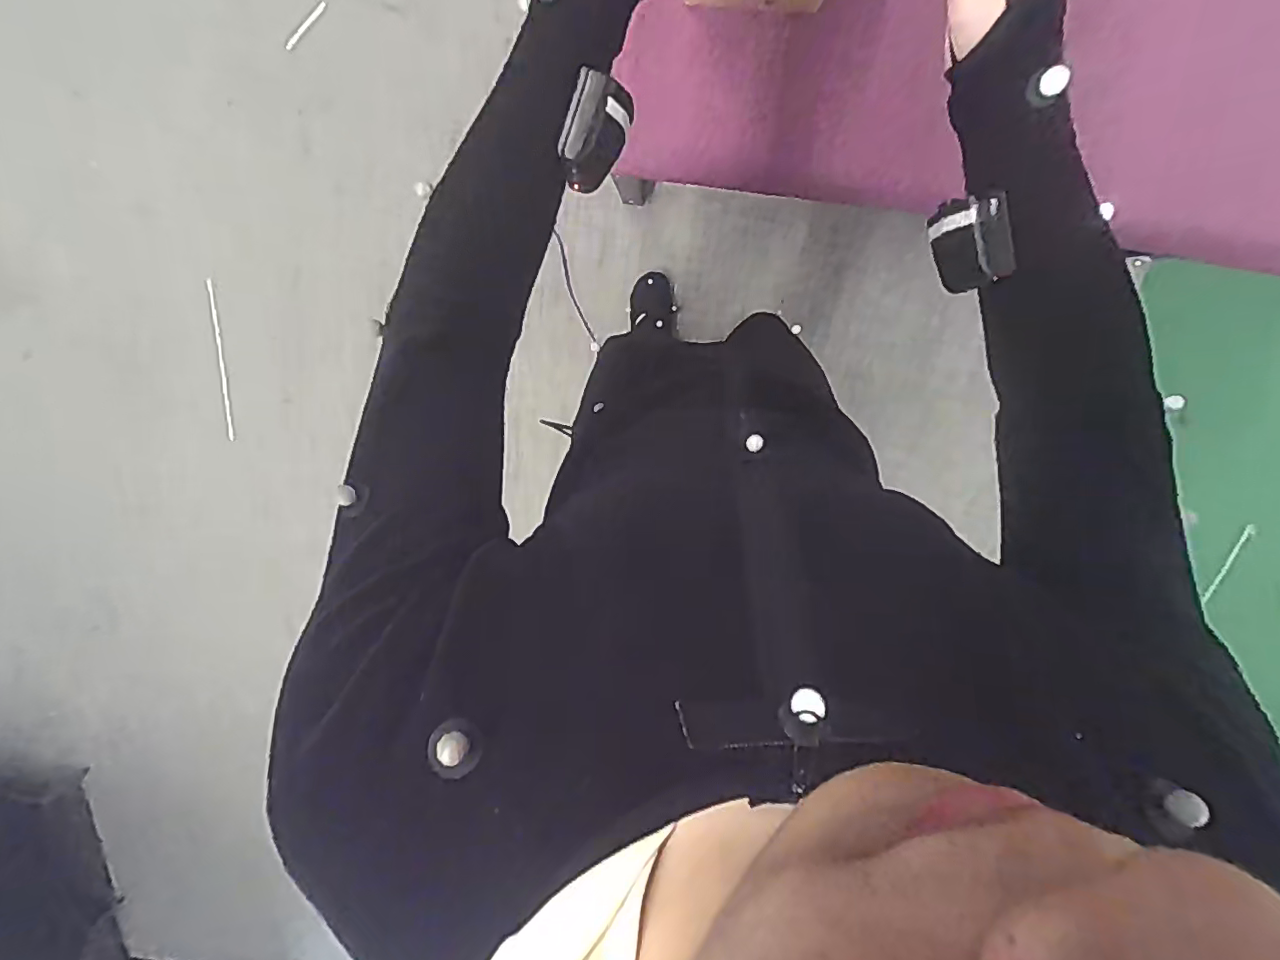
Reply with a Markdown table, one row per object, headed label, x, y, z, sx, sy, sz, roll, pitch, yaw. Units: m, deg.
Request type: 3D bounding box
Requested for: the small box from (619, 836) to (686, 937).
| label | x | y | z | sx | sy | sz | roll | pitch | yaw |
| --- | --- | --- | --- | --- | --- | --- | --- | --- | --- |
| small box | 0.033 | 1.180 | 1.578 | 0.168 | 0.176 | 0.179 | 9 | 112 | -2 |
